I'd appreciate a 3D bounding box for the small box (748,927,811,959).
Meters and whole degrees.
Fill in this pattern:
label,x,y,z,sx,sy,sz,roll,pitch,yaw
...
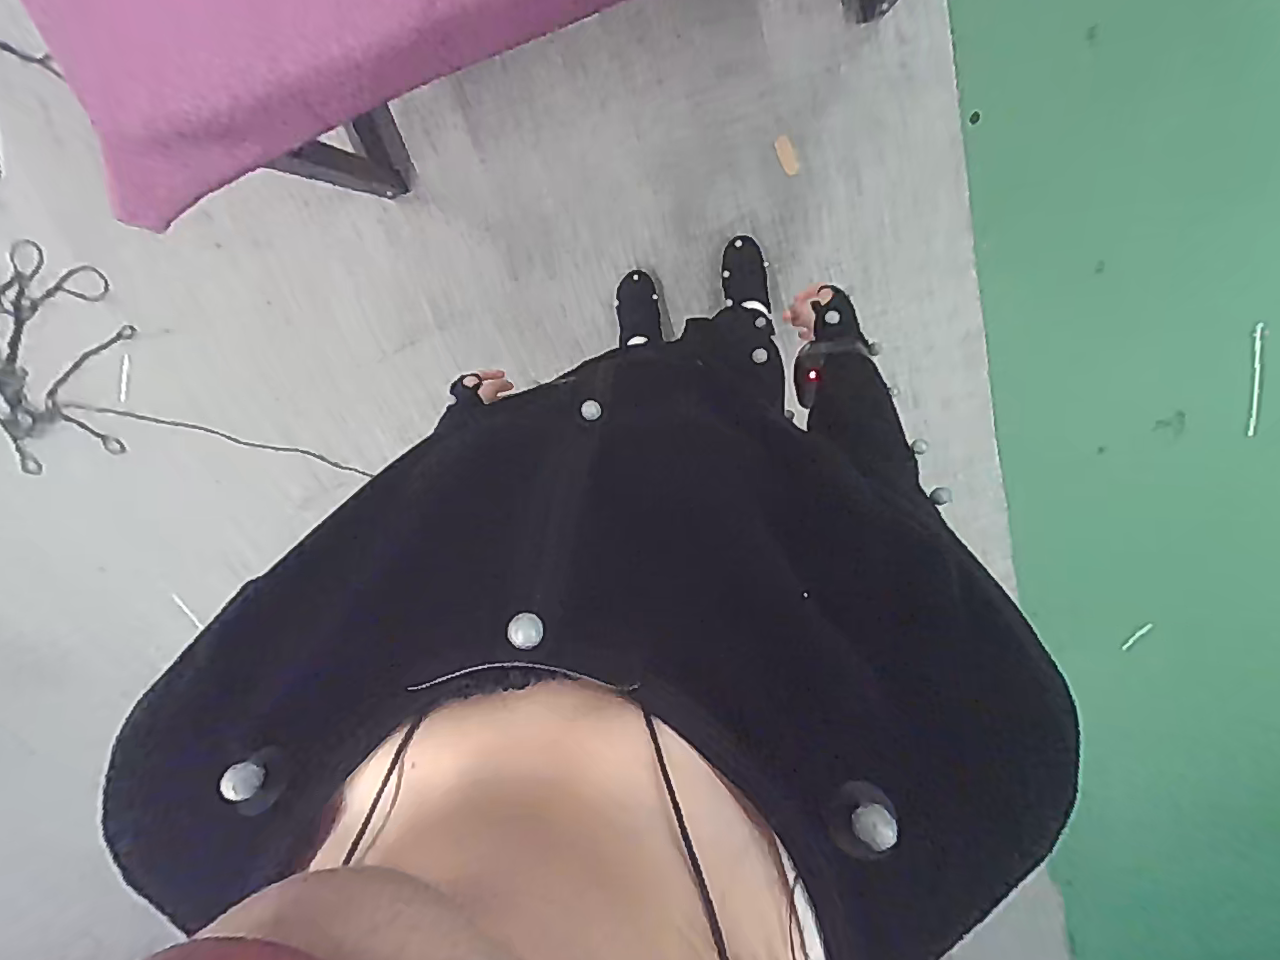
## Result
label,x,y,z,sx,sy,sz,roll,pitch,yaw
small box,0.405,1.392,1.513,0.168,0.176,0.179,-12,109,7
